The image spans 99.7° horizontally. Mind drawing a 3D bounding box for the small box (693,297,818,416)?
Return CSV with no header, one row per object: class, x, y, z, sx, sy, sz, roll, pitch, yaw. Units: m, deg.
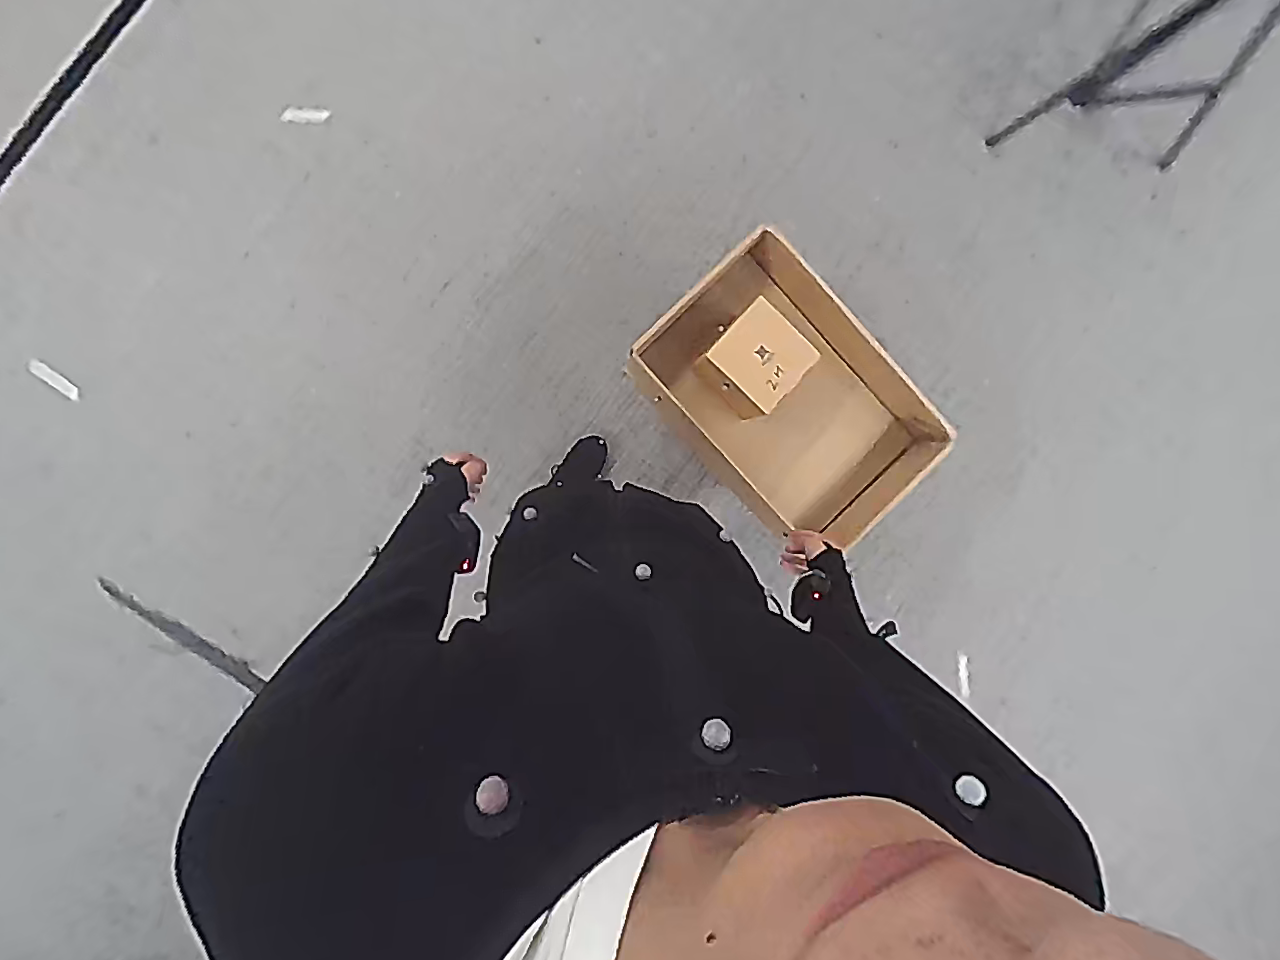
small box,0.235,-0.250,1.151,0.179,0.176,0.168,43,89,-6
